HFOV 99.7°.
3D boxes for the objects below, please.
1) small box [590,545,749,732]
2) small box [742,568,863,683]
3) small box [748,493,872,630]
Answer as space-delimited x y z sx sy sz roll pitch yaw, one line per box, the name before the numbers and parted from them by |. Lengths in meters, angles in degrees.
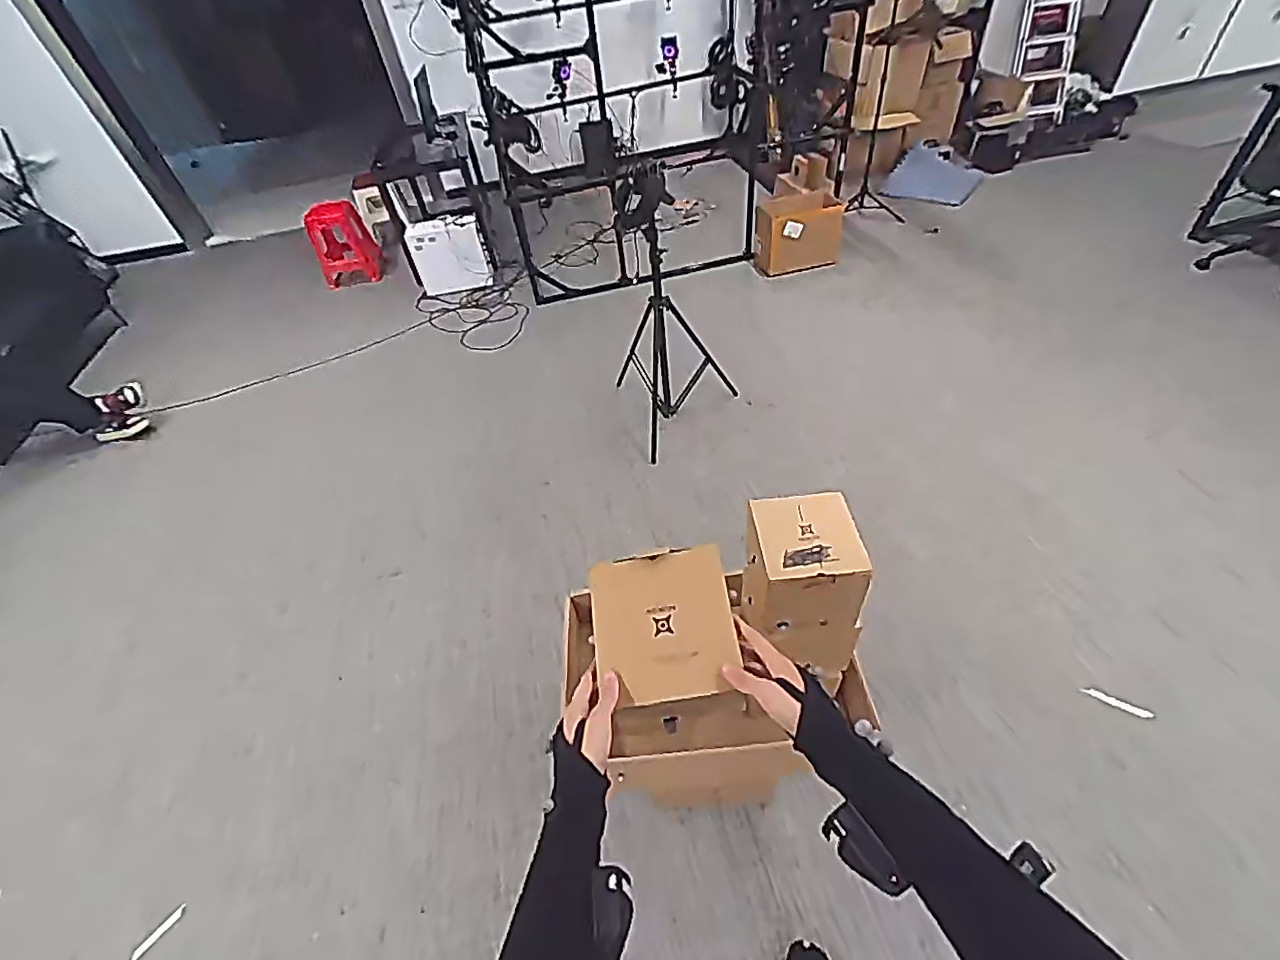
small box | 0.037 0.206 0.688 0.168 0.176 0.179 -11 58 4
small box | 0.305 0.275 1.055 0.179 0.176 0.168 -8 45 -1
small box | 0.286 0.149 0.949 0.168 0.176 0.179 -6 44 3
